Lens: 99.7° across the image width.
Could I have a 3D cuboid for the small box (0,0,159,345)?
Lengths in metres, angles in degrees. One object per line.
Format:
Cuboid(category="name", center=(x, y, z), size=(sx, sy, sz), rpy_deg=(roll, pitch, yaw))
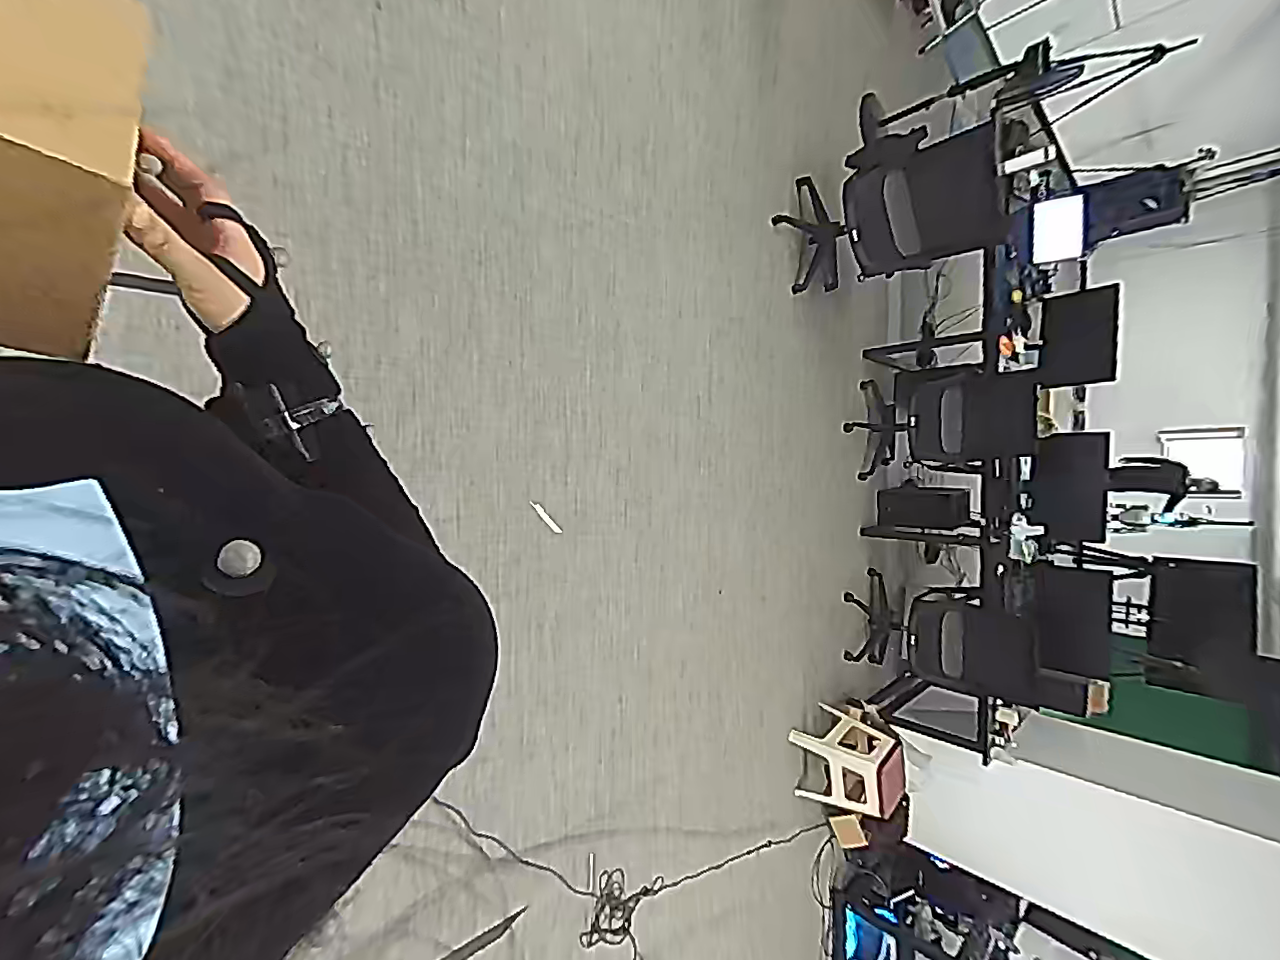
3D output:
Cuboid(category="small box", center=(-0.398, -0.206, 0.301), size=(0.168, 0.176, 0.179), rpy_deg=(11, 54, -50))
